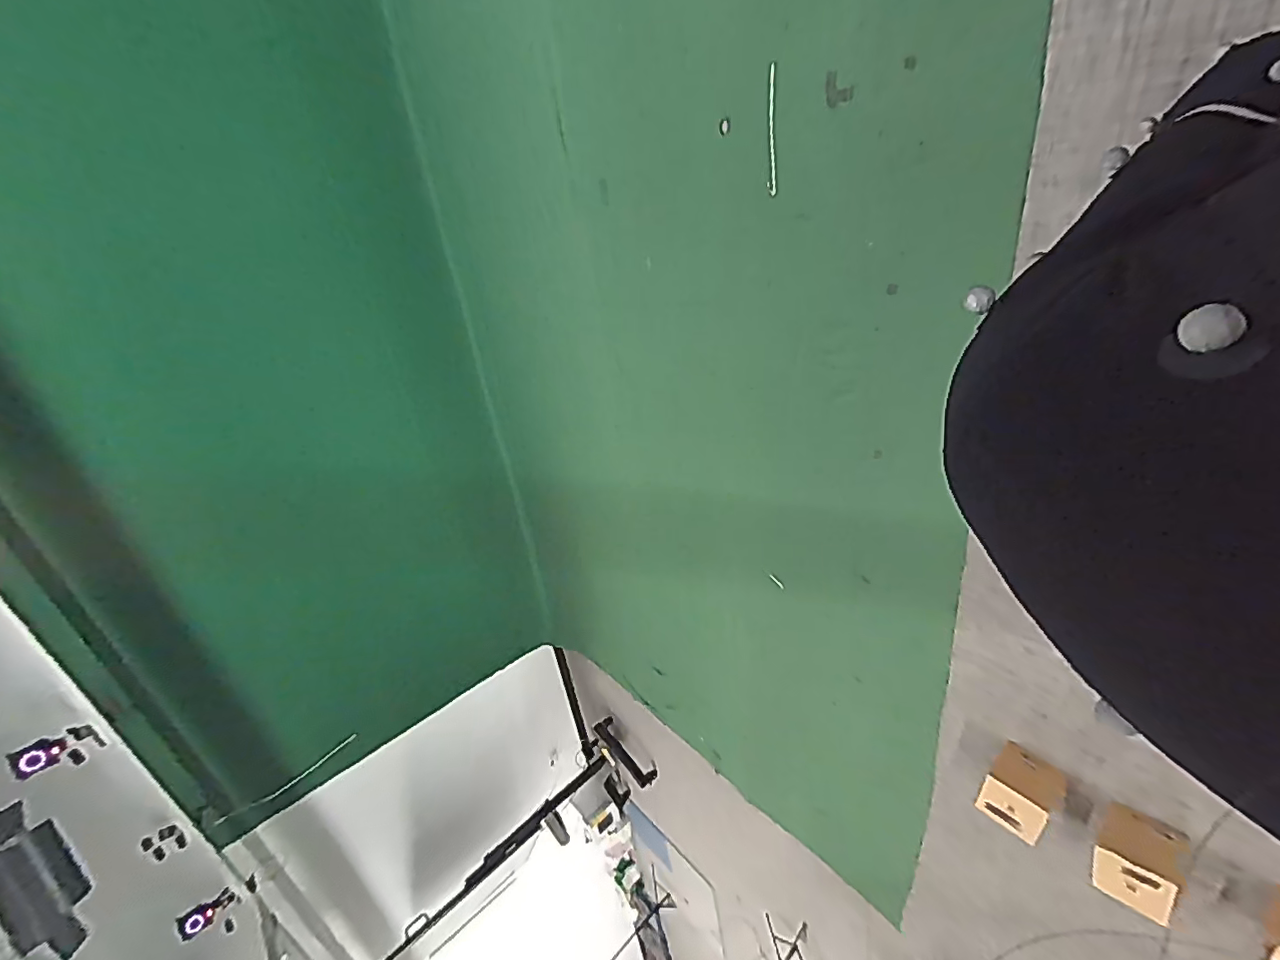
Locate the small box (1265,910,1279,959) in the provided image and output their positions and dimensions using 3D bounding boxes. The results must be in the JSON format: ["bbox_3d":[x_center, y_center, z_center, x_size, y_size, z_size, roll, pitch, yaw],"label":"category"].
[{"bbox_3d":[1.564,1.111,1.225,0.168,0.176,0.179,17,125,48],"label":"small box"}]

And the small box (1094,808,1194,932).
[{"bbox_3d":[1.362,1.041,1.461,0.168,0.176,0.179,12,123,51],"label":"small box"}]
